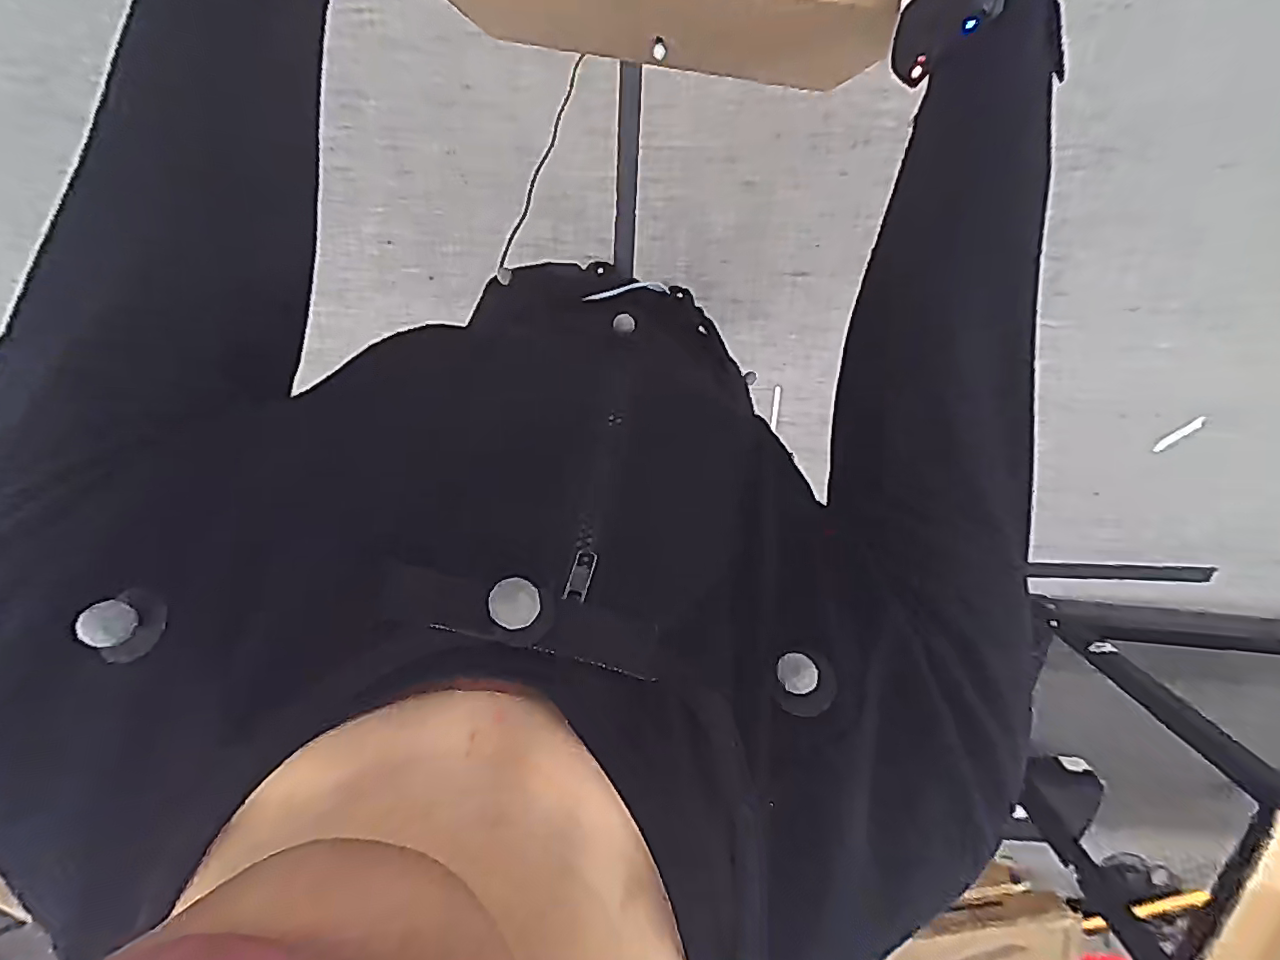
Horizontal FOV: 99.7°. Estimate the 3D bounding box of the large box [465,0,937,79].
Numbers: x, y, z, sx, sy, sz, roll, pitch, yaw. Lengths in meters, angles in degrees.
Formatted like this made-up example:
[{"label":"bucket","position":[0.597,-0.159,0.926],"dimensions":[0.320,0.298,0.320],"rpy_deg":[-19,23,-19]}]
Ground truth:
[{"label":"large box","position":[0.041,-0.557,0.435],"dimensions":[0.408,0.320,0.320],"rpy_deg":[9,117,0]}]
